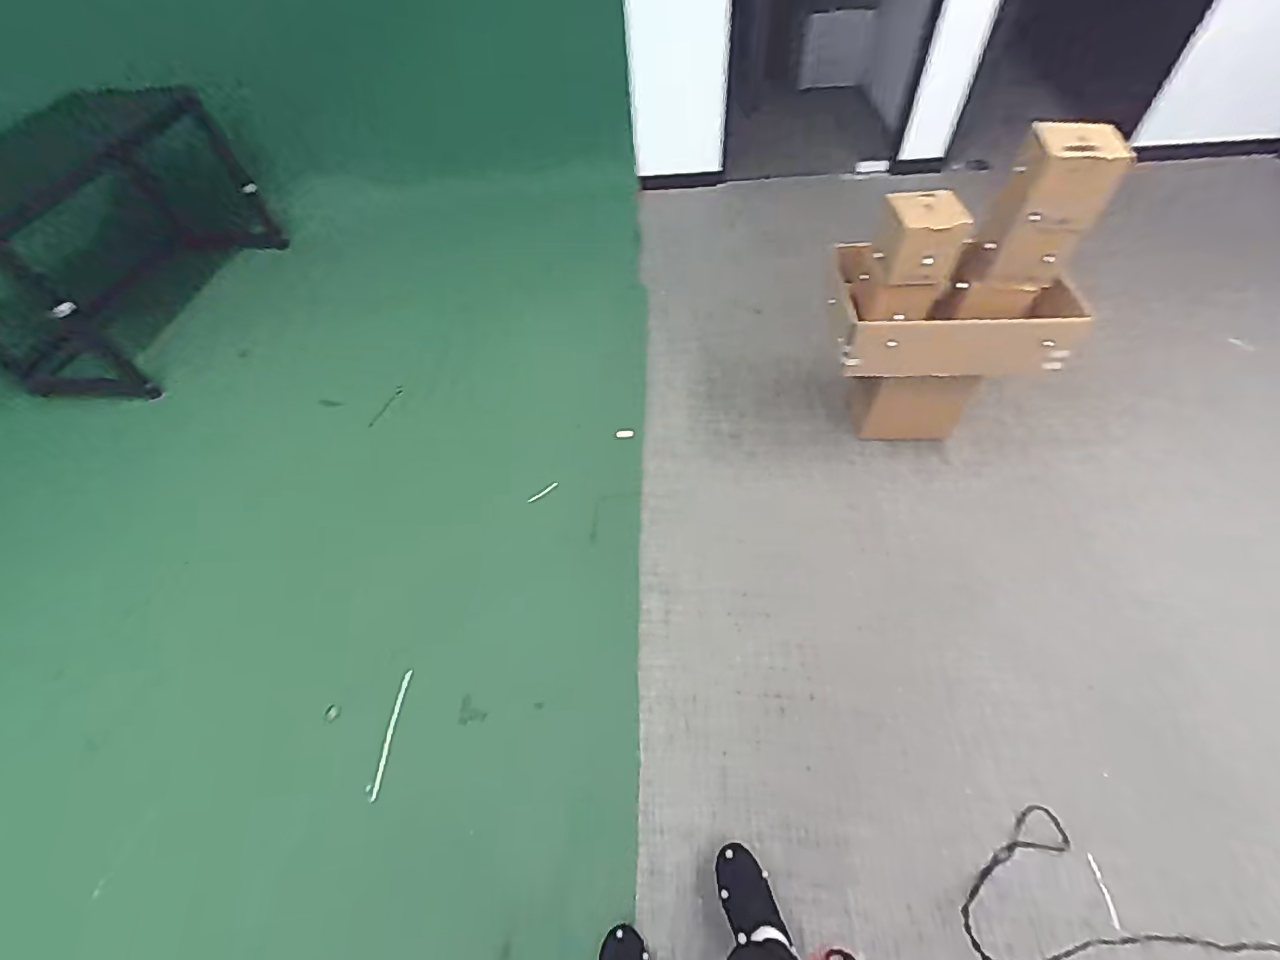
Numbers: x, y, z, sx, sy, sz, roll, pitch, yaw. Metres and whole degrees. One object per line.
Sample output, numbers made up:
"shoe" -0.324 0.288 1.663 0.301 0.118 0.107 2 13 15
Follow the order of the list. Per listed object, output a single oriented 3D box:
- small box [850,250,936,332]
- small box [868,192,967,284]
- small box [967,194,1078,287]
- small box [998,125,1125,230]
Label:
"small box" 0.739 -0.563 1.602 0.168 0.176 0.179 -3 54 2
"small box" 0.739 -0.648 1.461 0.168 0.176 0.179 -2 54 1
"small box" 1.004 -0.633 1.437 0.168 0.176 0.179 5 54 6
"small box" 1.001 -0.726 1.302 0.168 0.176 0.179 8 54 8
